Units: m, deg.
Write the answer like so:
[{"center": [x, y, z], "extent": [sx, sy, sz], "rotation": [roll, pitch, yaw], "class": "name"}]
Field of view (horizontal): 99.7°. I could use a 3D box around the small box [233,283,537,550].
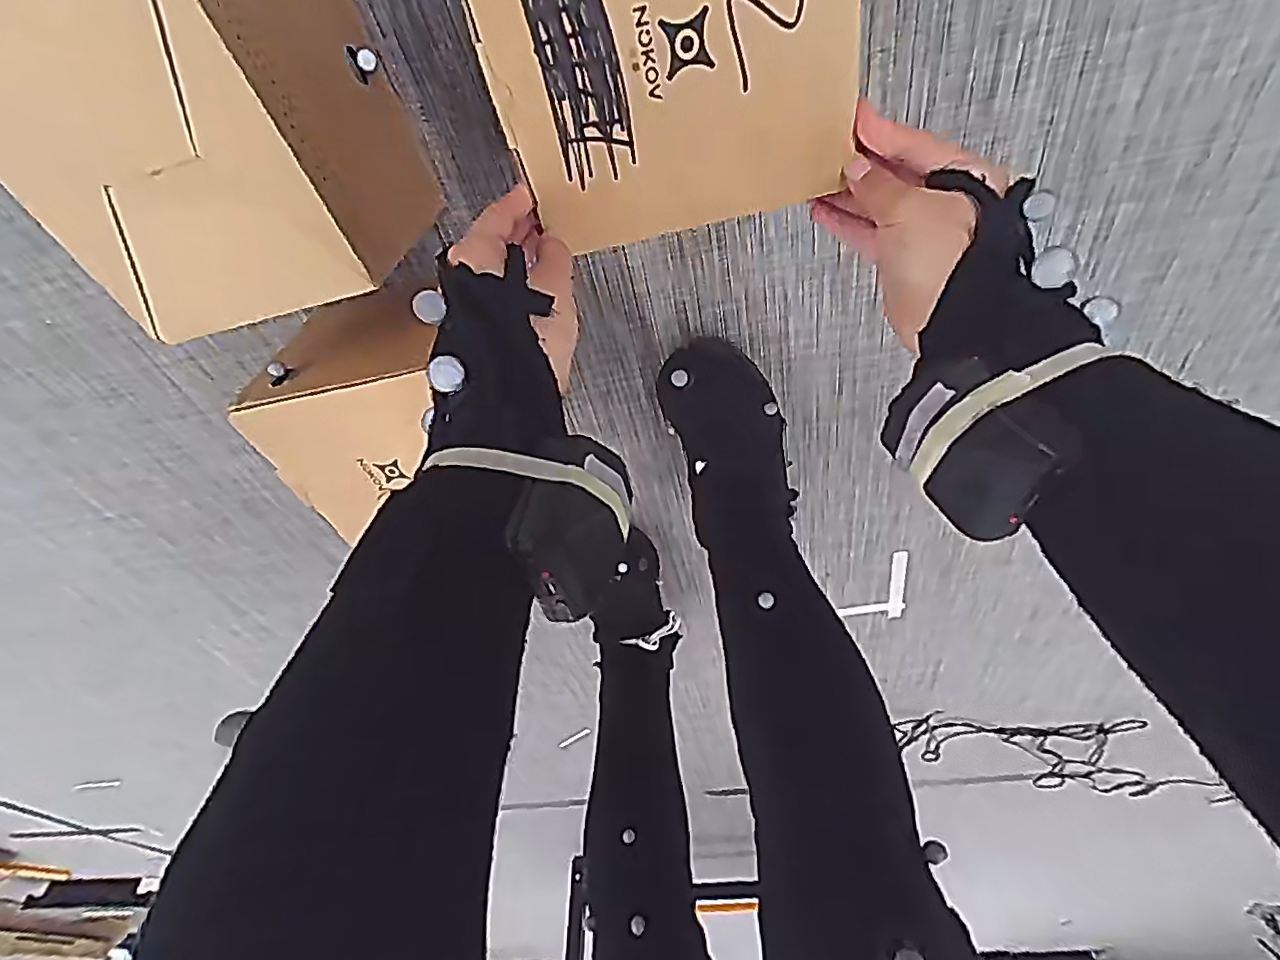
[{"center": [-0.205, -0.060, 0.500], "extent": [0.179, 0.176, 0.168], "rotation": [-9, 133, 10], "class": "small box"}]
